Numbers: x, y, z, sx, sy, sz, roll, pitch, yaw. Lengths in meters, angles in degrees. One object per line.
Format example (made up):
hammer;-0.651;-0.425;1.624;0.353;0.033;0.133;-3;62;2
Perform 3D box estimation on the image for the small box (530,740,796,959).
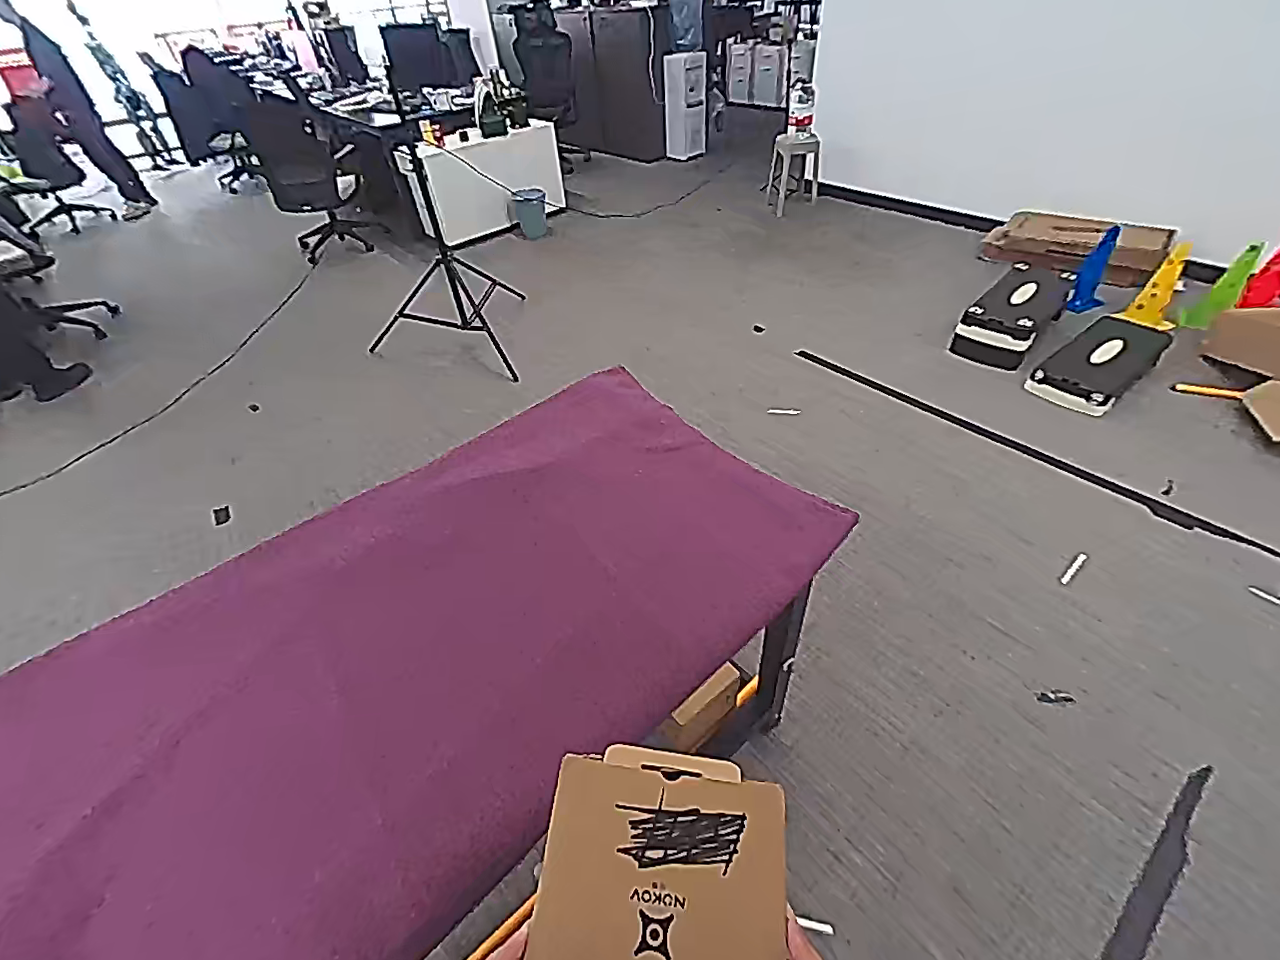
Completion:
small box;0.020;0.321;0.414;0.168;0.176;0.179;5;54;7
